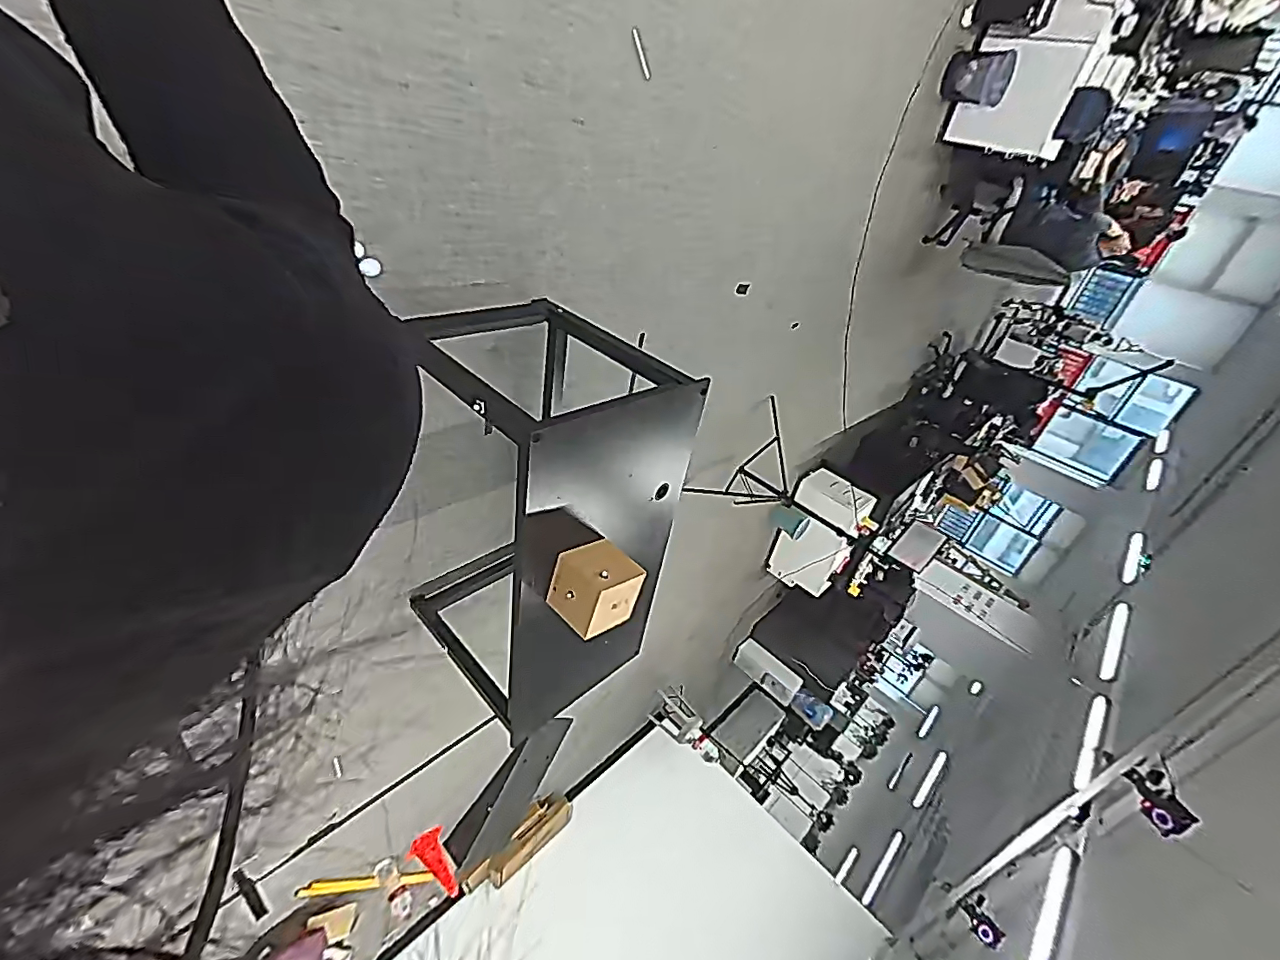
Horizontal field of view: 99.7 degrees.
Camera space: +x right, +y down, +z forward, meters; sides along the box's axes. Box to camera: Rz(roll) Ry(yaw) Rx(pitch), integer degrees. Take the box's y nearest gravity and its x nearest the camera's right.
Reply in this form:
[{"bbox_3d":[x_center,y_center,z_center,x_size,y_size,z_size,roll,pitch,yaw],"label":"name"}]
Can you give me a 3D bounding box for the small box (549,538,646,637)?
[{"bbox_3d":[-0.118,0.281,1.453,0.179,0.176,0.168,-14,131,-49],"label":"small box"}]
